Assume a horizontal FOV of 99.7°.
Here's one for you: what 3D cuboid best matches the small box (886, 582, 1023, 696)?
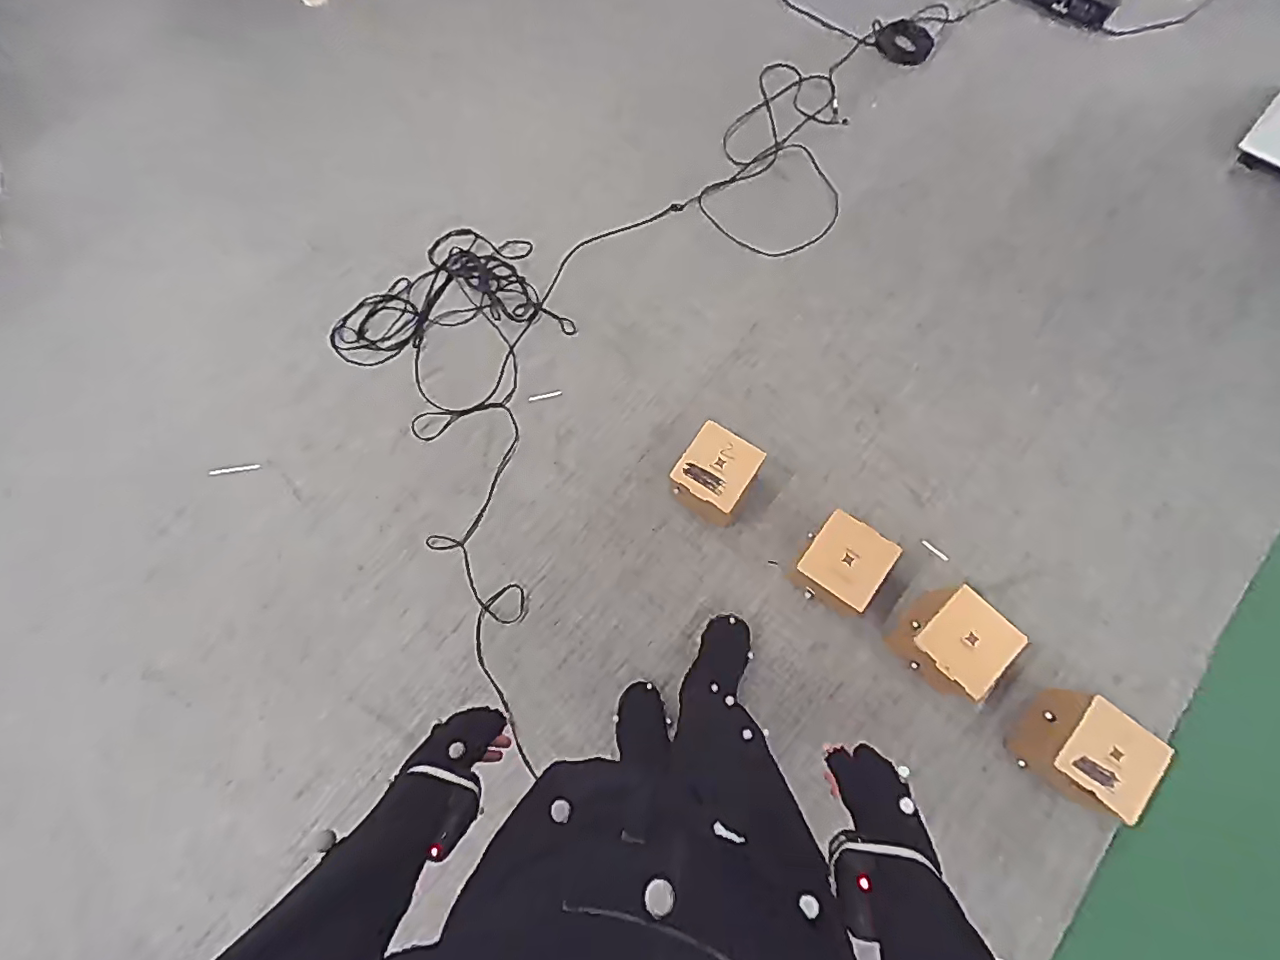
[{"bbox_3d":[0.689,0.351,1.210,0.179,0.176,0.168,-44,77,-8],"label":"small box"}]

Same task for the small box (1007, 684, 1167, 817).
[{"bbox_3d":[0.923,0.556,1.139,0.168,0.176,0.179,39,79,12],"label":"small box"}]

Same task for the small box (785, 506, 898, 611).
[{"bbox_3d":[0.461,0.189,1.268,0.168,0.176,0.179,34,80,13],"label":"small box"}]
